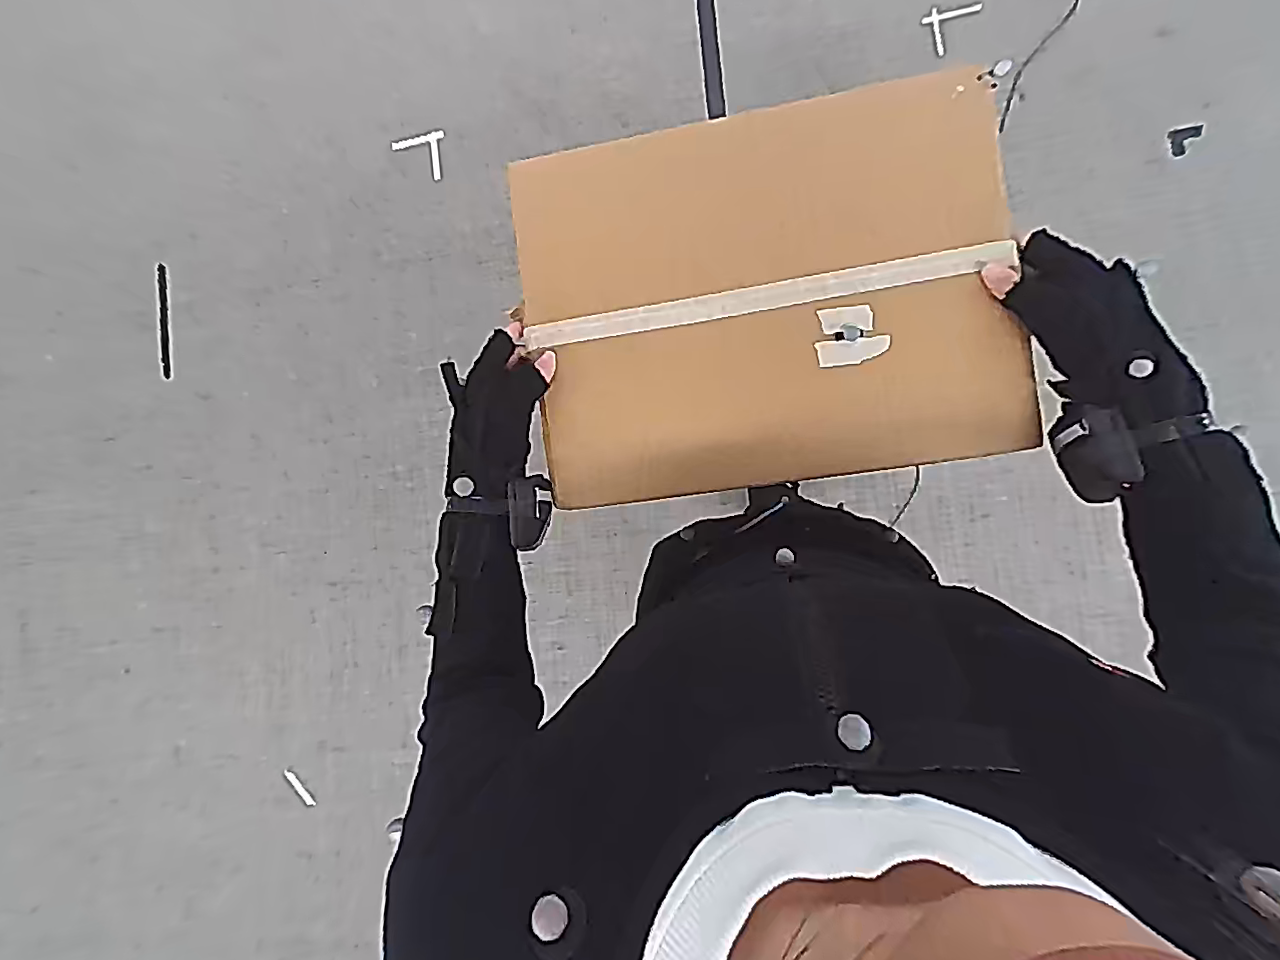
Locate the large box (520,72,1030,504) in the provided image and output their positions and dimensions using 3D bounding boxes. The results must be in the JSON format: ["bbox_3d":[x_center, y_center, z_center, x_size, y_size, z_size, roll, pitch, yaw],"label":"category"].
[{"bbox_3d":[0.121,-0.160,0.617,0.408,0.320,0.320,-9,90,6],"label":"large box"}]
